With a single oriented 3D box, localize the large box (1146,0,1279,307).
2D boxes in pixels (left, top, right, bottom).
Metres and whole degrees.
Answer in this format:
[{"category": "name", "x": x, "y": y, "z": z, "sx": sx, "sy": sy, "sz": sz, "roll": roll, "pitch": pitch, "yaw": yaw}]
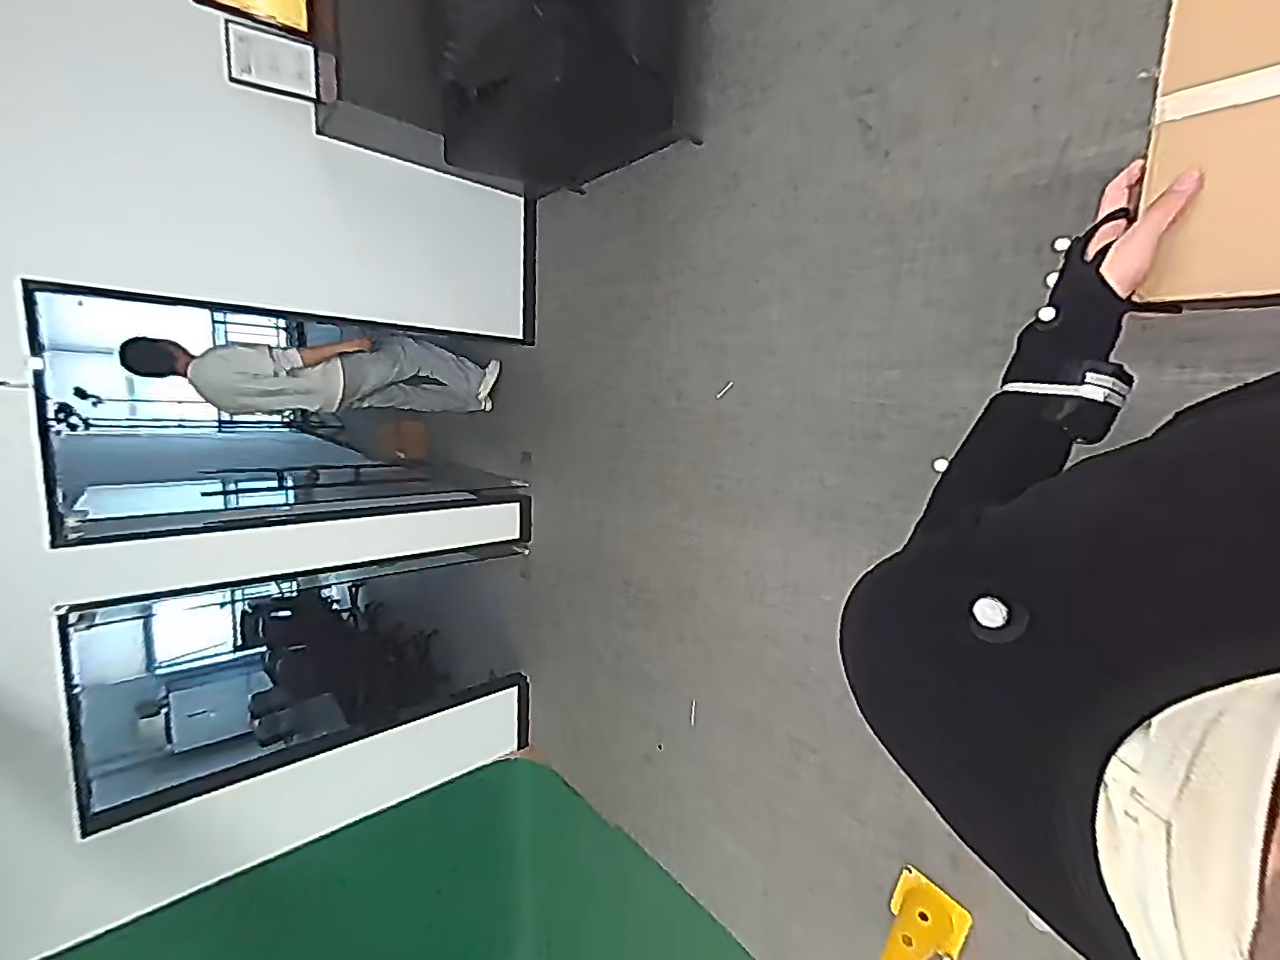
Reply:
[{"category": "large box", "x": 0.693, "y": -0.317, "z": 0.413, "sx": 0.408, "sy": 0.320, "sz": 0.320, "roll": 12, "pitch": 110, "yaw": 47}]
